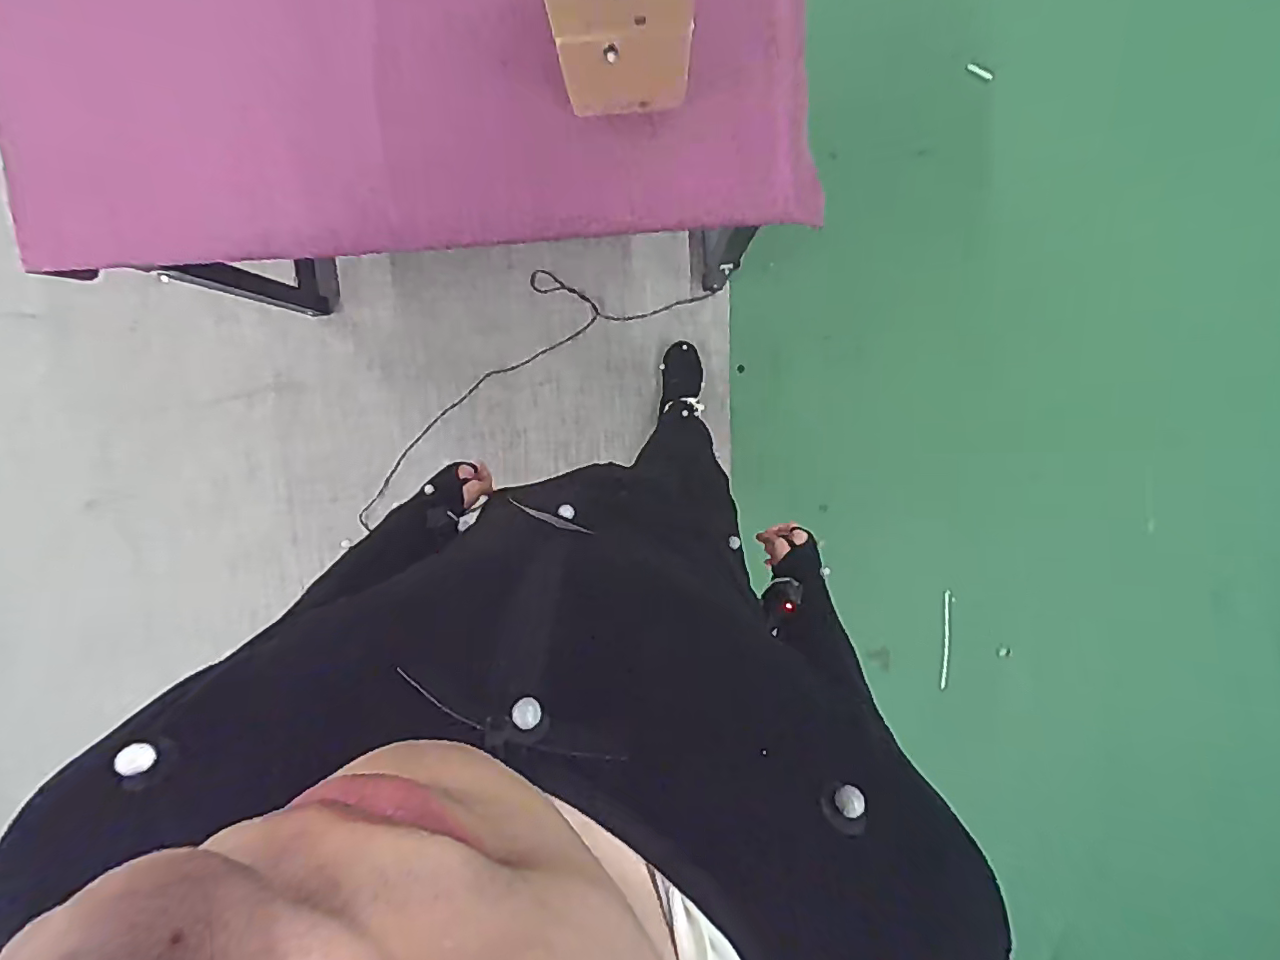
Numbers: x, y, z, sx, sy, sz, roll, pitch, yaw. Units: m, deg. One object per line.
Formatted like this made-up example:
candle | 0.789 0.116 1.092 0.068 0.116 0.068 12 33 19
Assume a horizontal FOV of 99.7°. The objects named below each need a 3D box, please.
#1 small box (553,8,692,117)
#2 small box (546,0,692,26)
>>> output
small box | -0.023 -0.620 0.710 0.168 0.176 0.179 -4 96 2
small box | -0.027 -0.601 0.545 0.168 0.176 0.179 -2 97 1
